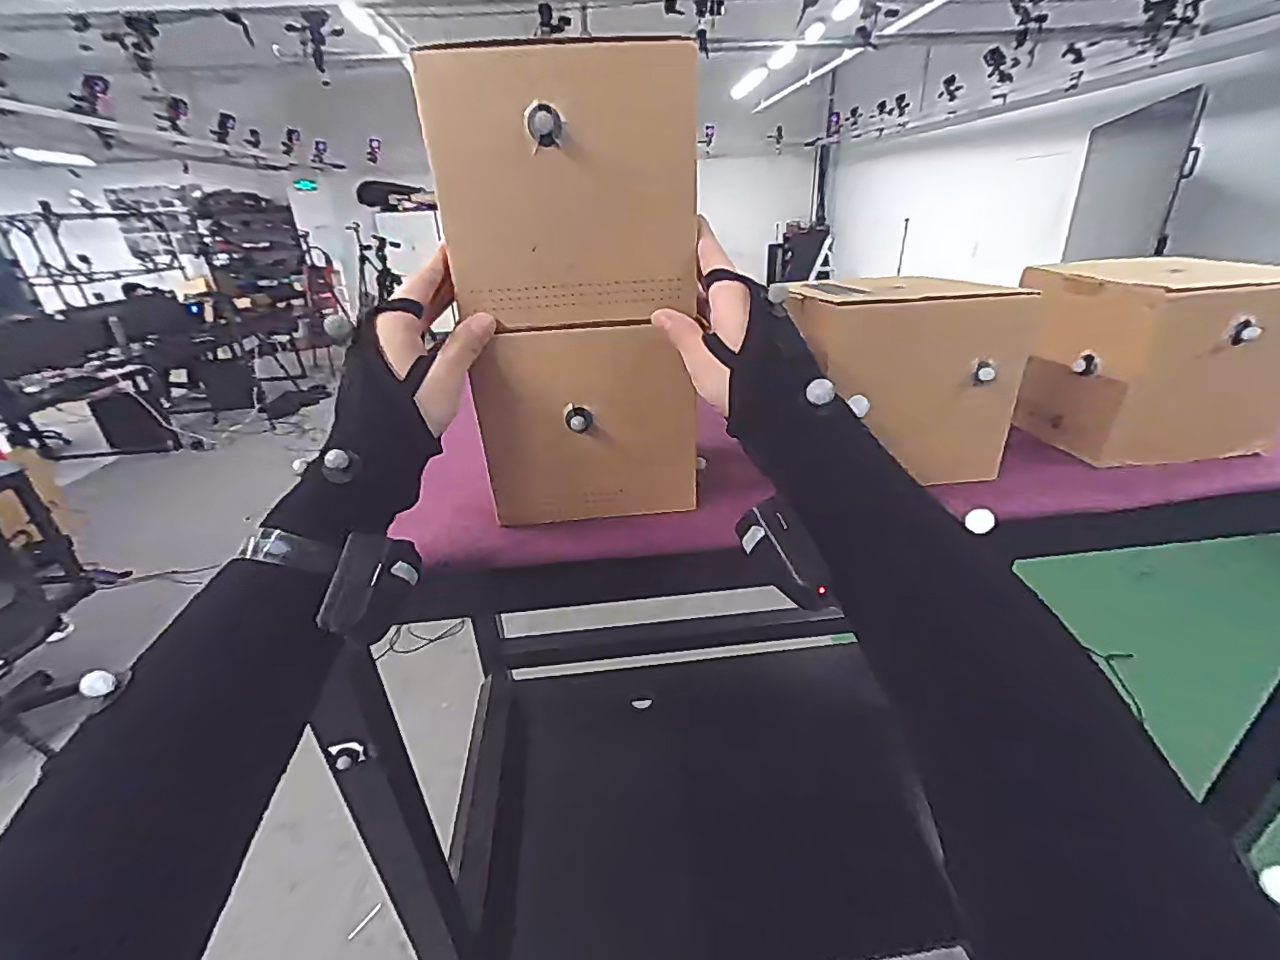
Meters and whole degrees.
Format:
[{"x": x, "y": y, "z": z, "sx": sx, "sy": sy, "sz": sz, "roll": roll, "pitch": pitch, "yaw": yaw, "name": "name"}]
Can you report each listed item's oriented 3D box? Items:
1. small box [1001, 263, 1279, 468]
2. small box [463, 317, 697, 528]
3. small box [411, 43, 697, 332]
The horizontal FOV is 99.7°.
[{"x": 0.504, "y": -0.119, "z": 0.548, "sx": 0.179, "sy": 0.176, "sz": 0.168, "roll": -4, "pitch": 27, "yaw": -3, "name": "small box"}, {"x": -0.046, "y": -0.071, "z": 0.505, "sx": 0.179, "sy": 0.176, "sz": 0.168, "roll": -5, "pitch": 27, "yaw": -3, "name": "small box"}, {"x": -0.052, "y": -0.217, "z": 0.431, "sx": 0.179, "sy": 0.176, "sz": 0.168, "roll": -4, "pitch": 28, "yaw": -2, "name": "small box"}]
